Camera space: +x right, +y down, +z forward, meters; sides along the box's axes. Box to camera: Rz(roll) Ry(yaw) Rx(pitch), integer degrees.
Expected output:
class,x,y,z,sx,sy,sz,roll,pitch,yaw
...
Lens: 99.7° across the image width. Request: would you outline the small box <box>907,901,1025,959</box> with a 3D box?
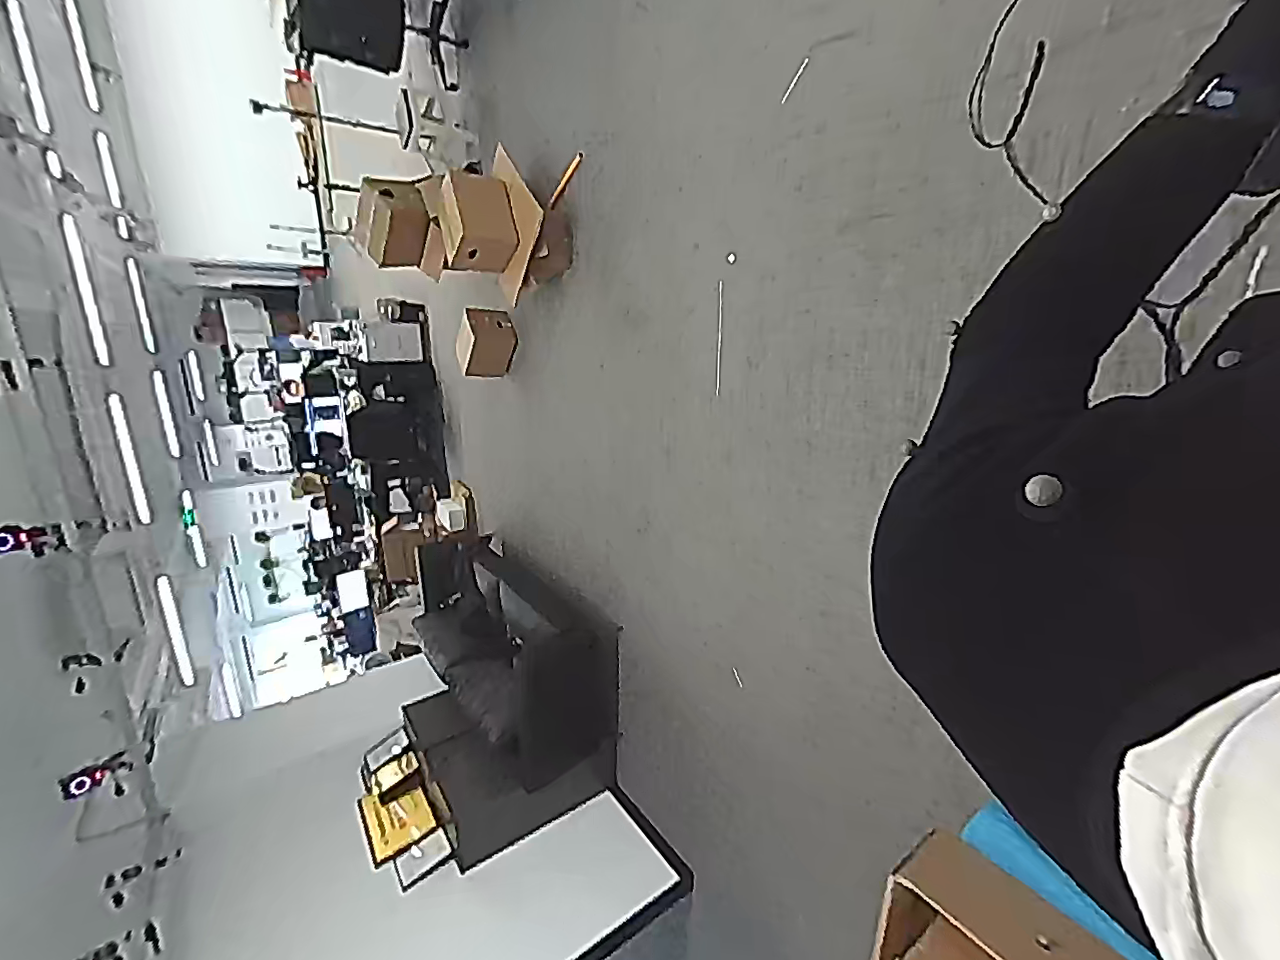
class,x,y,z,sx,sy,sz,roll,pitch,yaw
small box,0.619,0.960,1.016,0.179,0.176,0.168,24,119,50
